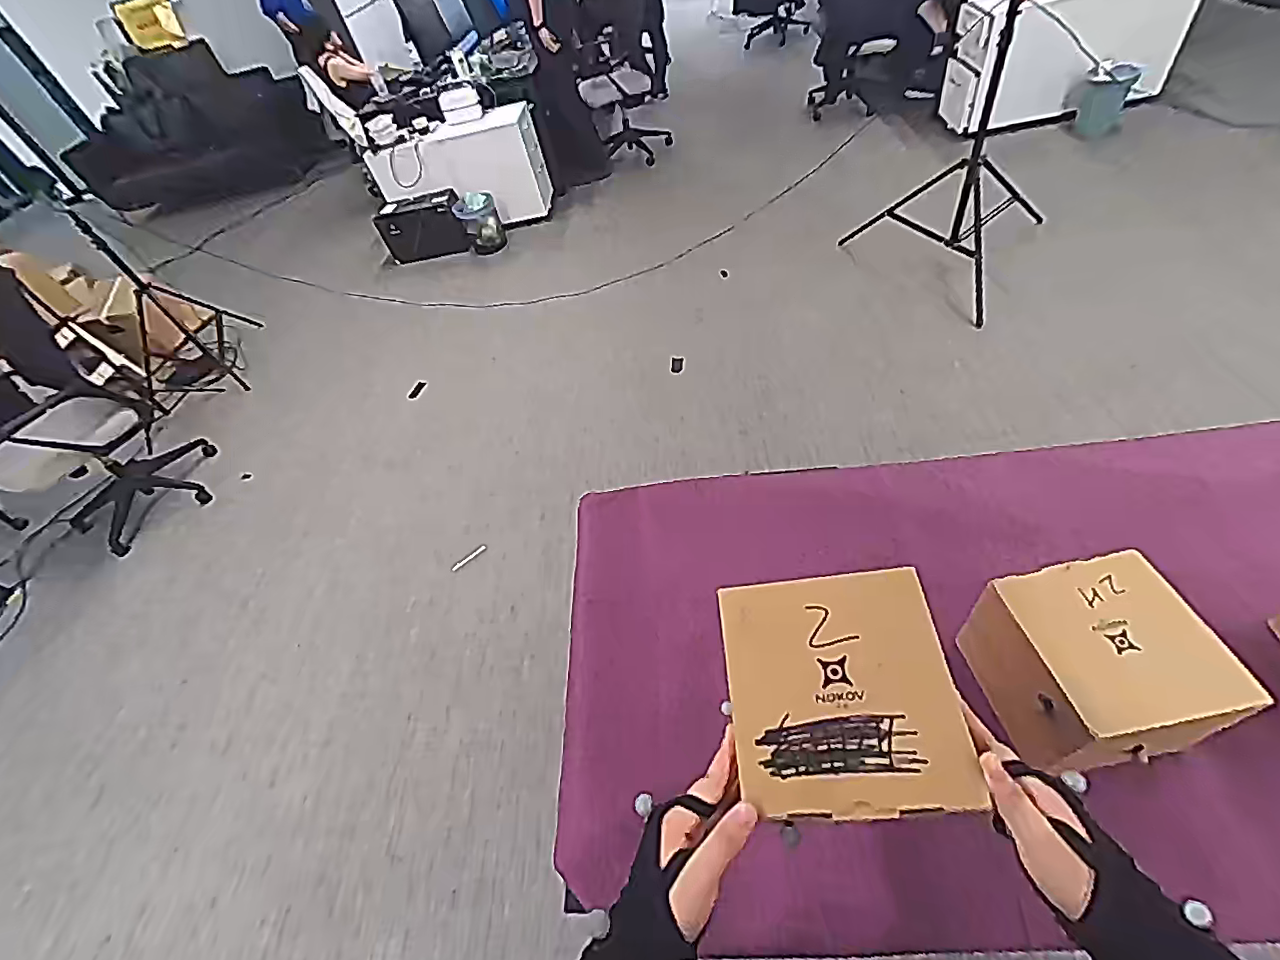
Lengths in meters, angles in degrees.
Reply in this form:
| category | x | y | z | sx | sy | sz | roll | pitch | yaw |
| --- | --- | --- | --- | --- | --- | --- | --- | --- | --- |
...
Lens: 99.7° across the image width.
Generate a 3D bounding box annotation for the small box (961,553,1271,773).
| category | x | y | z | sx | sy | sz | roll | pitch | yaw |
| --- | --- | --- | --- | --- | --- | --- | --- | --- | --- |
| small box | 0.502 | 0.213 | 0.611 | 0.168 | 0.176 | 0.179 | -13 | 47 | 3 |
